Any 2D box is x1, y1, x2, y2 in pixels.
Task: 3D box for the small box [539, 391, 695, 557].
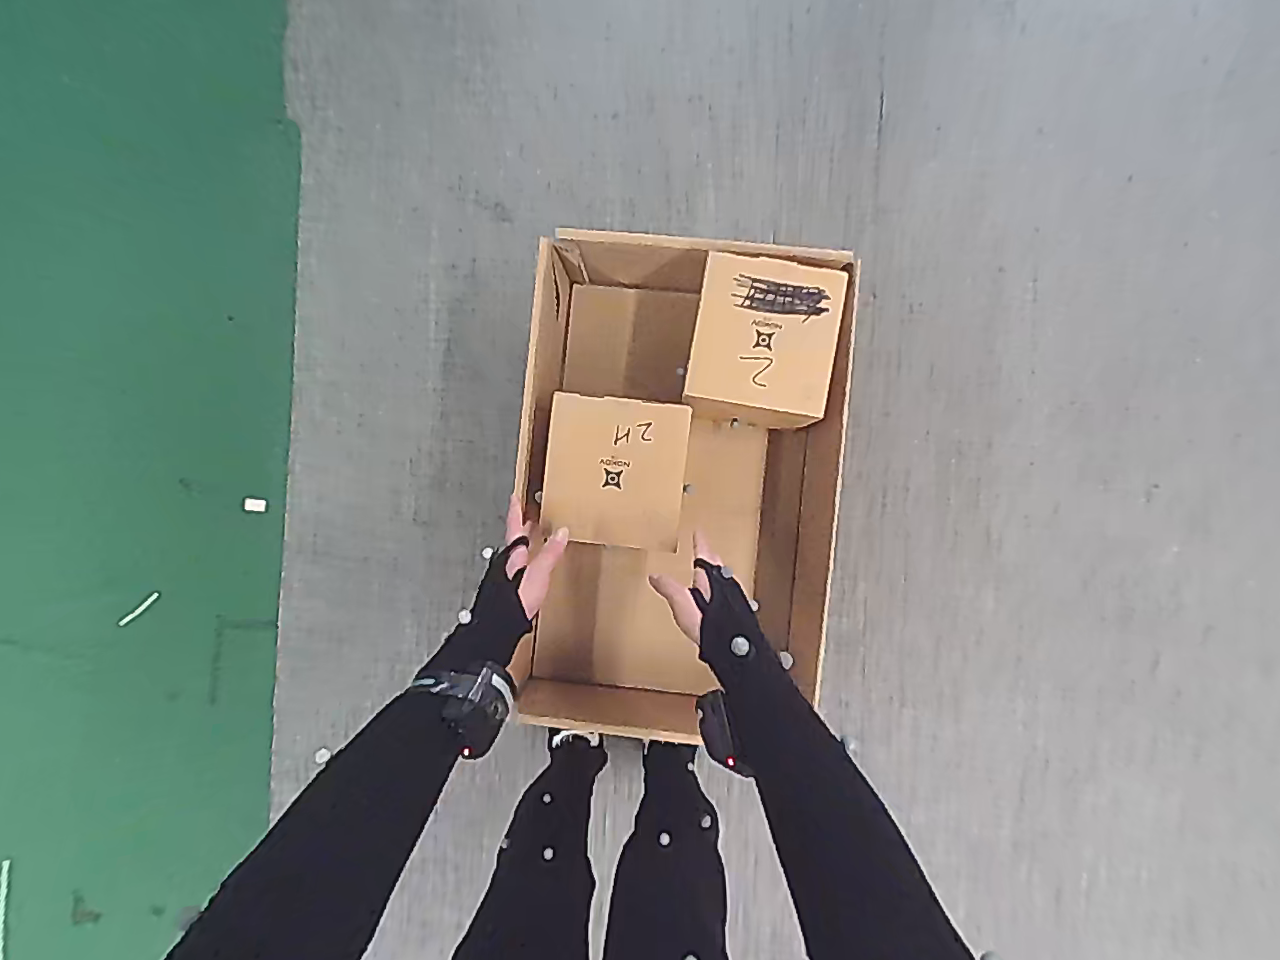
[{"bbox_3d":[-0.023,-0.007,0.705,0.168,0.176,0.179,7,89,2],"label":"small box"}]
